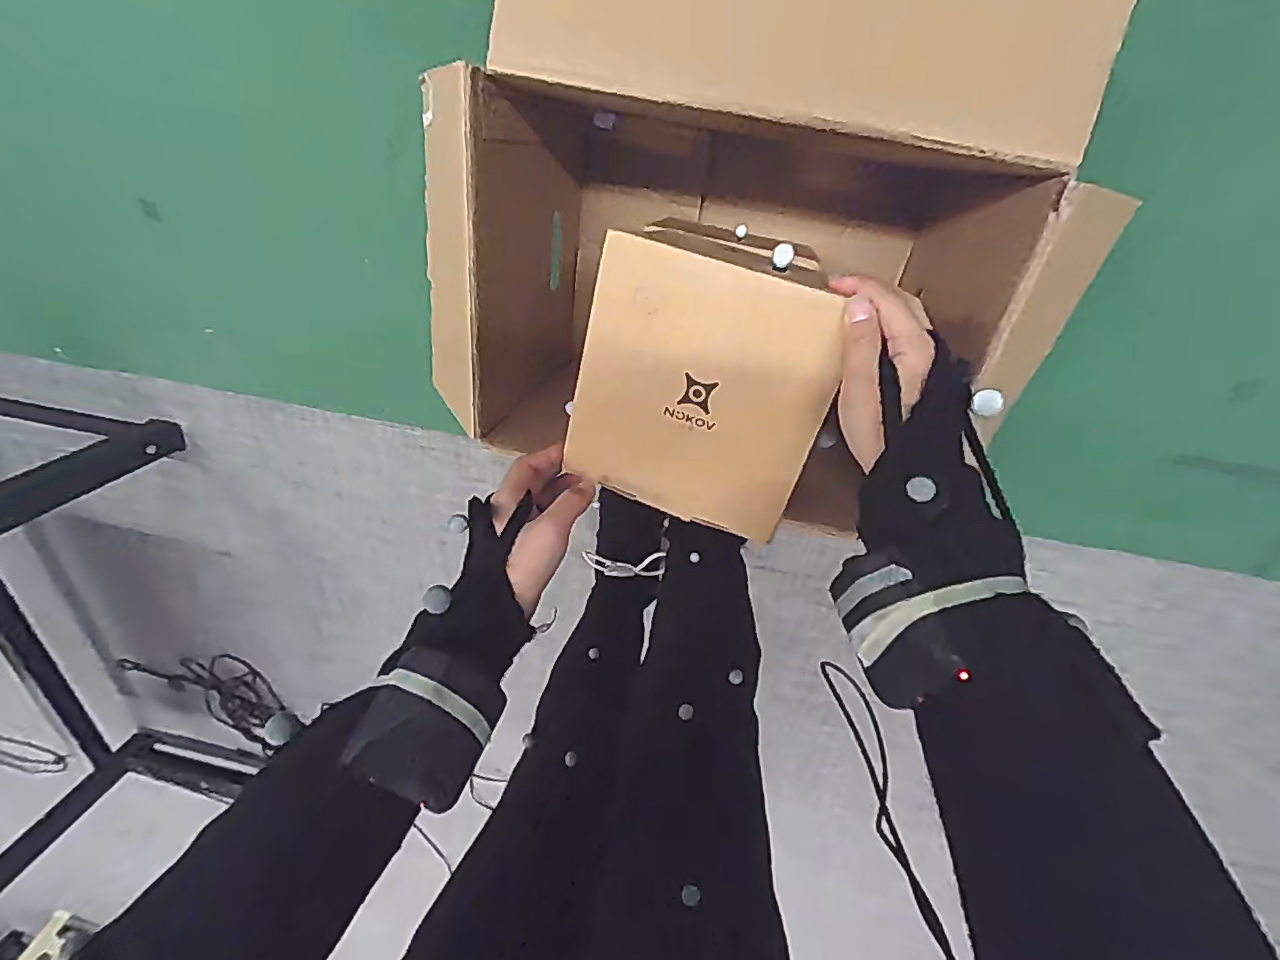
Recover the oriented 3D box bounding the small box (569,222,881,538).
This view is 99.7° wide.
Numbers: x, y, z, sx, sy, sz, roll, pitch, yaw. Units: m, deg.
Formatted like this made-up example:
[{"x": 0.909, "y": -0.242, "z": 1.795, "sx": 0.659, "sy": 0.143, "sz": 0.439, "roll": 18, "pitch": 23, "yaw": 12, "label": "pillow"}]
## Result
[{"x": 0.062, "y": -0.090, "z": 0.428, "sx": 0.168, "sy": 0.176, "sz": 0.179, "roll": 20, "pitch": 119, "yaw": 7, "label": "small box"}]
